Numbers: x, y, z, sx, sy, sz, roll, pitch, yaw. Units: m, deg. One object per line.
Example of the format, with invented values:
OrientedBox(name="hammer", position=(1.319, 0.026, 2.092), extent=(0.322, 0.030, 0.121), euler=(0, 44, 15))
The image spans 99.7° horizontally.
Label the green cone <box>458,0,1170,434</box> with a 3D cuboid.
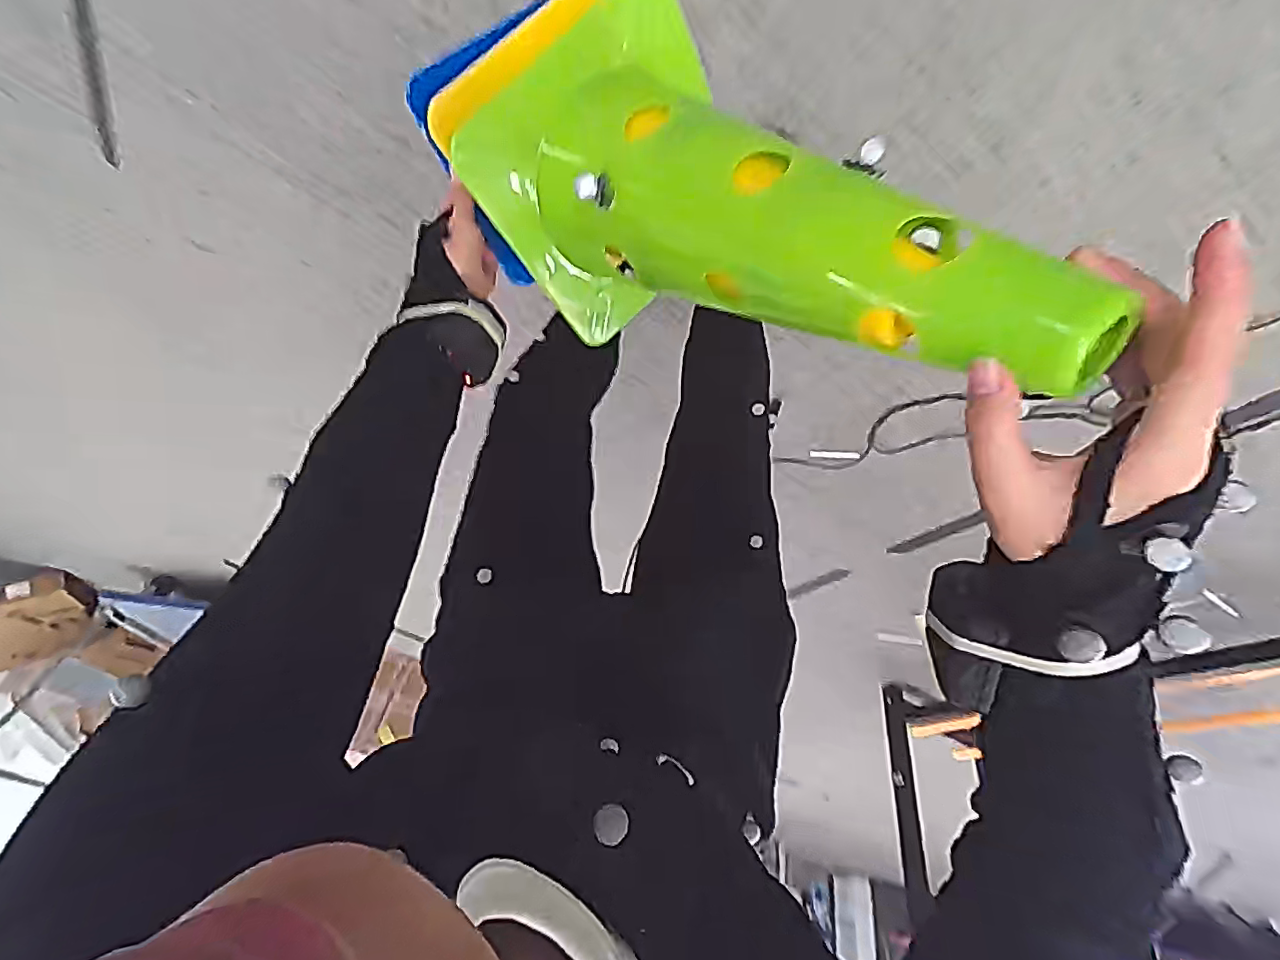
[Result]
OrientedBox(name="green cone", position=(0.076, -0.133, 0.301), extent=(0.202, 0.368, 0.200), euler=(-43, 137, 0))
